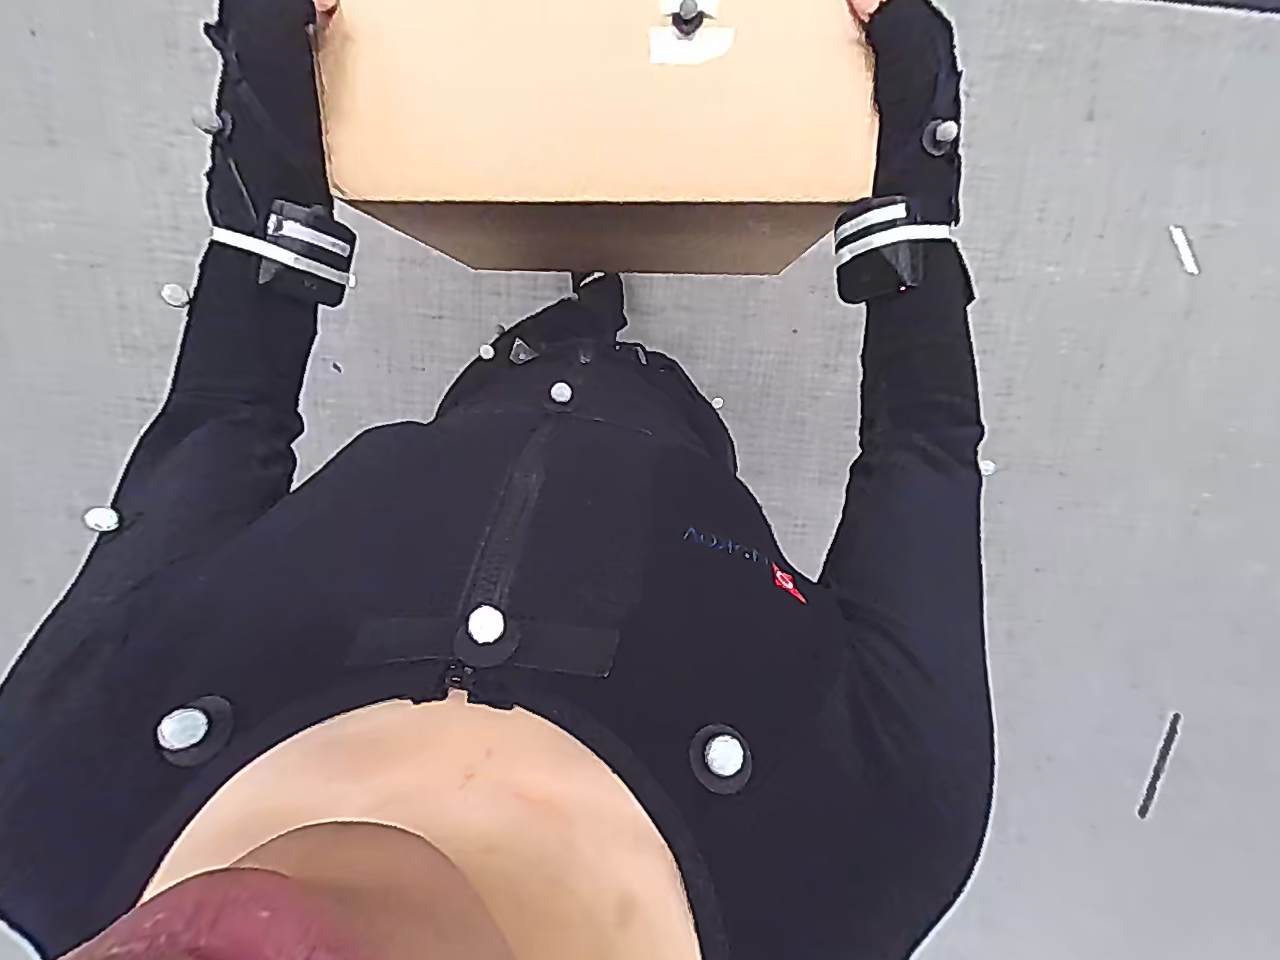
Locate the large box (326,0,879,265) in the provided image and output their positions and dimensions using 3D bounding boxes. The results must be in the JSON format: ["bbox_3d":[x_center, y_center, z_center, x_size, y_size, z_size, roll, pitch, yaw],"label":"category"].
[{"bbox_3d":[-0.025,-0.403,0.526,0.408,0.320,0.320,1,102,2],"label":"large box"}]
